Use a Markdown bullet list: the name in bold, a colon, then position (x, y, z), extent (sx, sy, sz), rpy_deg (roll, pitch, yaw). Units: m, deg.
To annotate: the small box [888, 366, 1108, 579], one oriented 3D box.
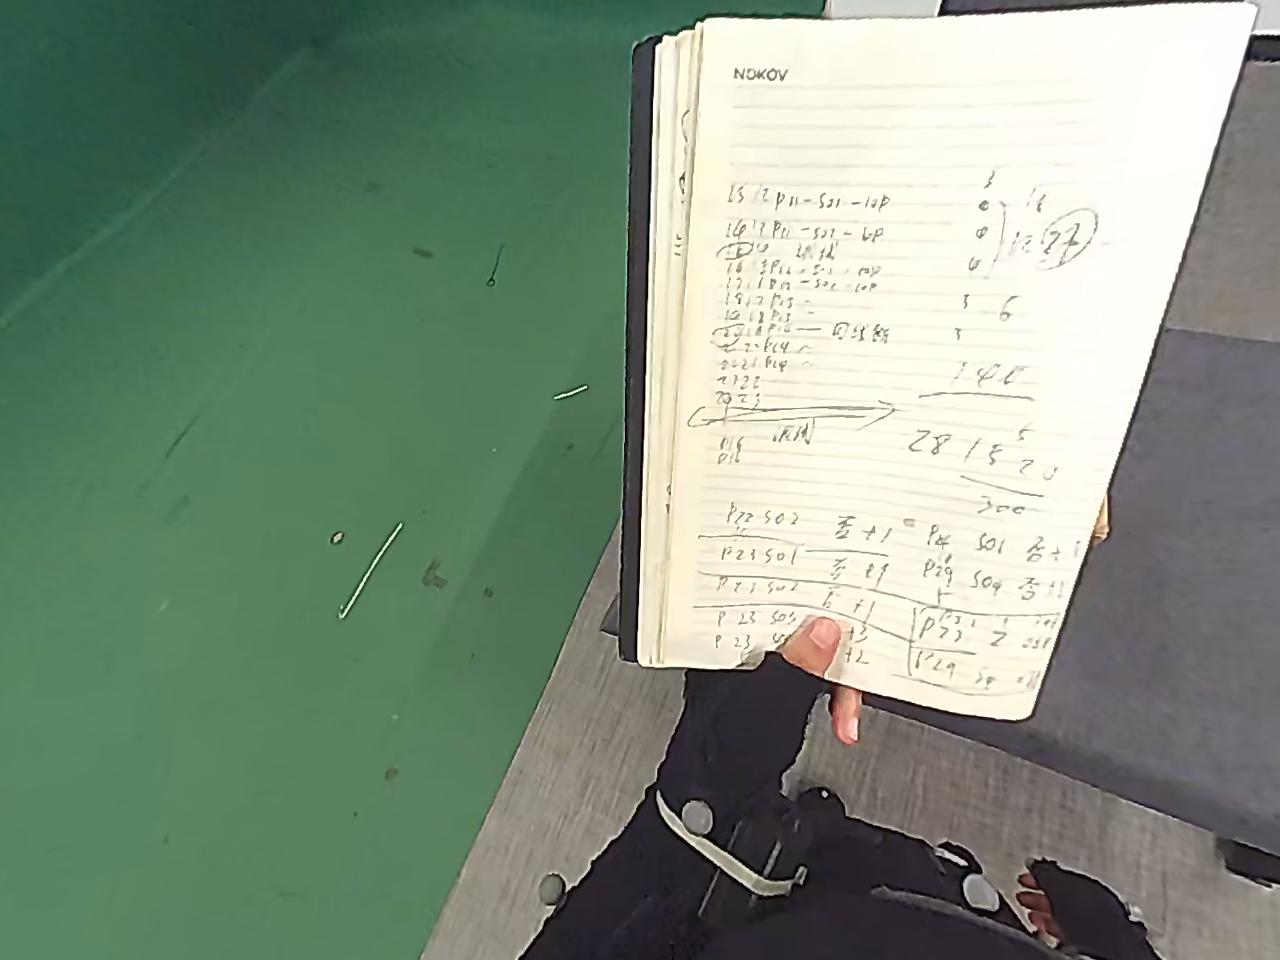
- **small box**: position (0.406, -0.004, 0.639), extent (0.168, 0.176, 0.179), rpy_deg (12, 66, 16)
